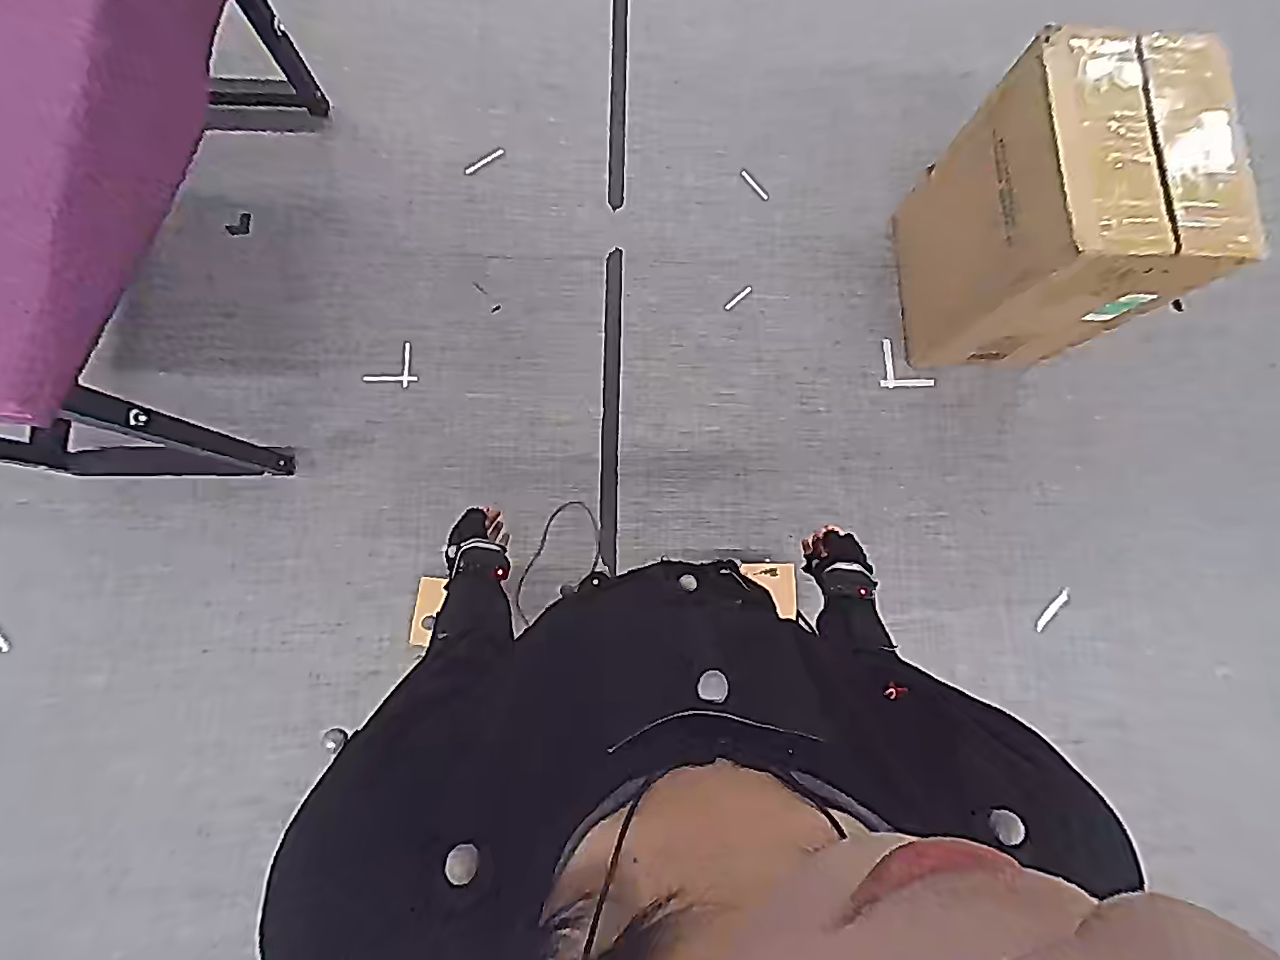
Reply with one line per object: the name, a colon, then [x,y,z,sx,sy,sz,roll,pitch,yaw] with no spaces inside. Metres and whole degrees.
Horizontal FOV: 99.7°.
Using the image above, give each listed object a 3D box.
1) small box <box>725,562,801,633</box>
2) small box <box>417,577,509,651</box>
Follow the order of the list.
small box: [0.326,0.312,1.457,0.168,0.176,0.179,0,82,-3]
small box: [-0.451,0.344,1.412,0.179,0.176,0.168,5,79,1]
